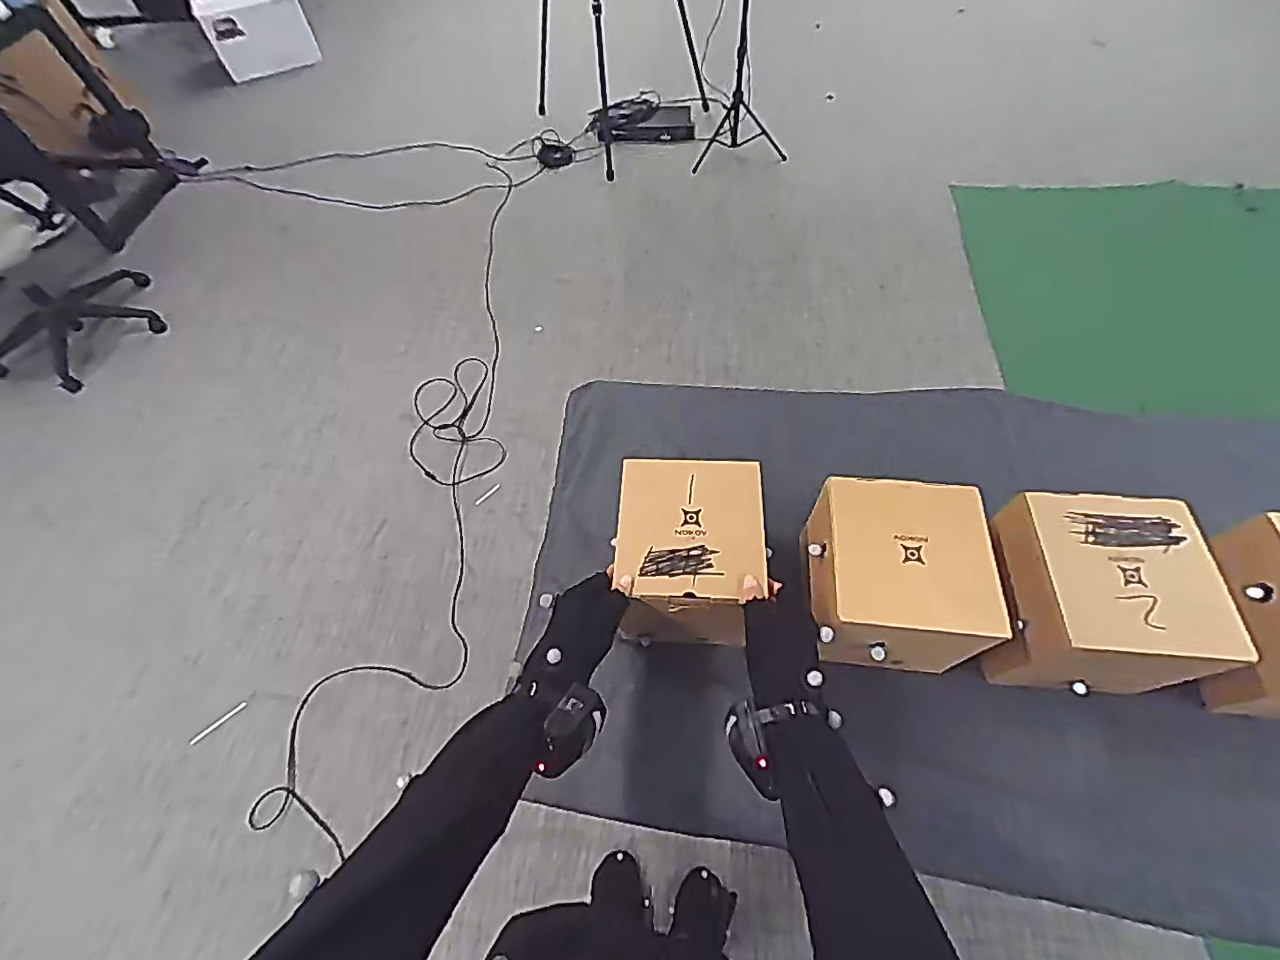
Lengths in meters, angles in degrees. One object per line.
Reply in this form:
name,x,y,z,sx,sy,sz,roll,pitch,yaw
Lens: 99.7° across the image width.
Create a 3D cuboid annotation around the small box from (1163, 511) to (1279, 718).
small box,0.741,0.154,0.589,0.168,0.176,0.179,3,58,7
